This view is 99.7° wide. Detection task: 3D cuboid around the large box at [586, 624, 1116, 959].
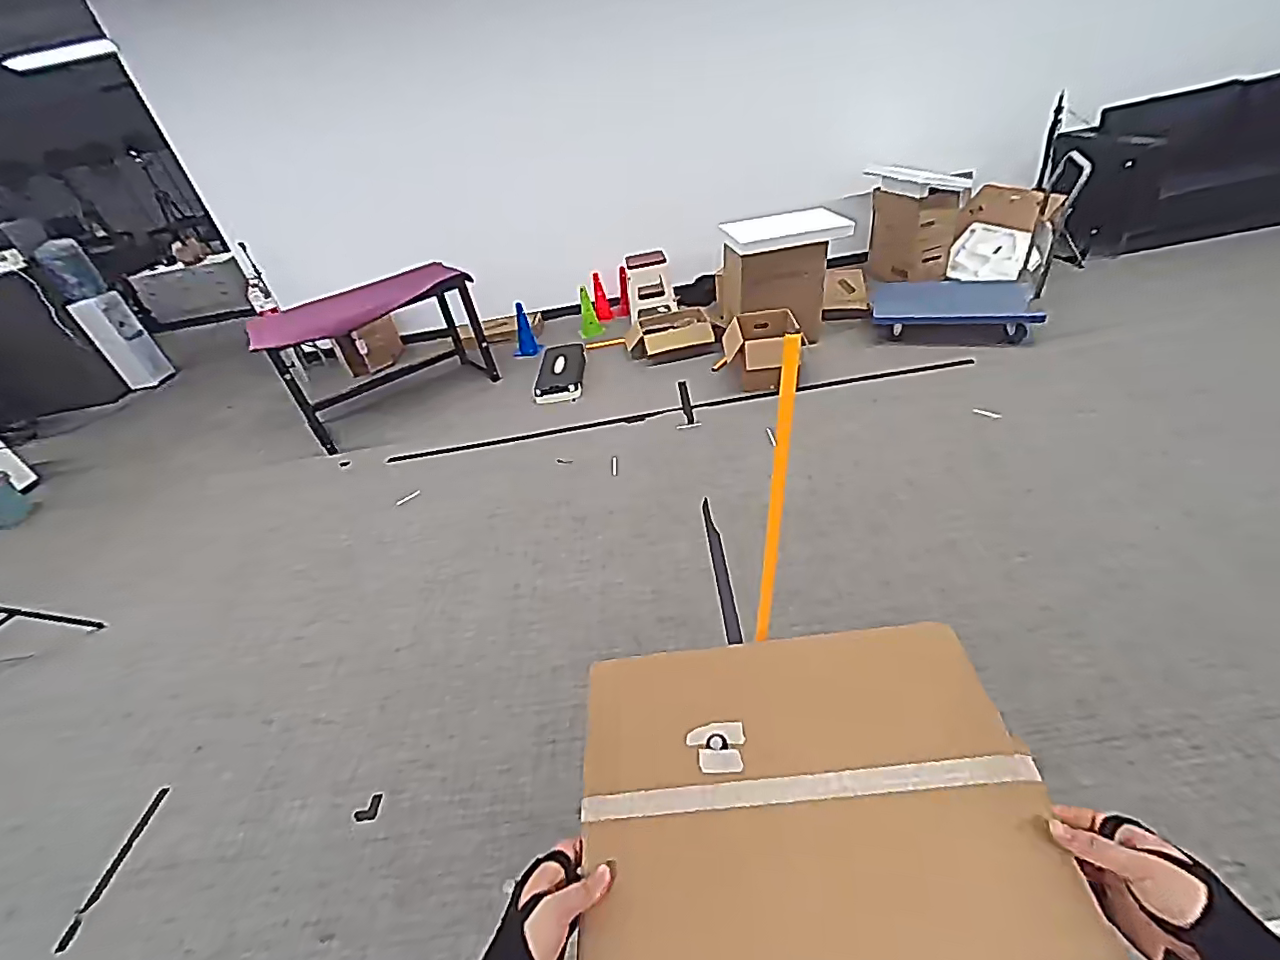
[{"bbox_3d":[0.177,0.403,0.604,0.408,0.320,0.320,-10,40,7],"label":"large box"}]
